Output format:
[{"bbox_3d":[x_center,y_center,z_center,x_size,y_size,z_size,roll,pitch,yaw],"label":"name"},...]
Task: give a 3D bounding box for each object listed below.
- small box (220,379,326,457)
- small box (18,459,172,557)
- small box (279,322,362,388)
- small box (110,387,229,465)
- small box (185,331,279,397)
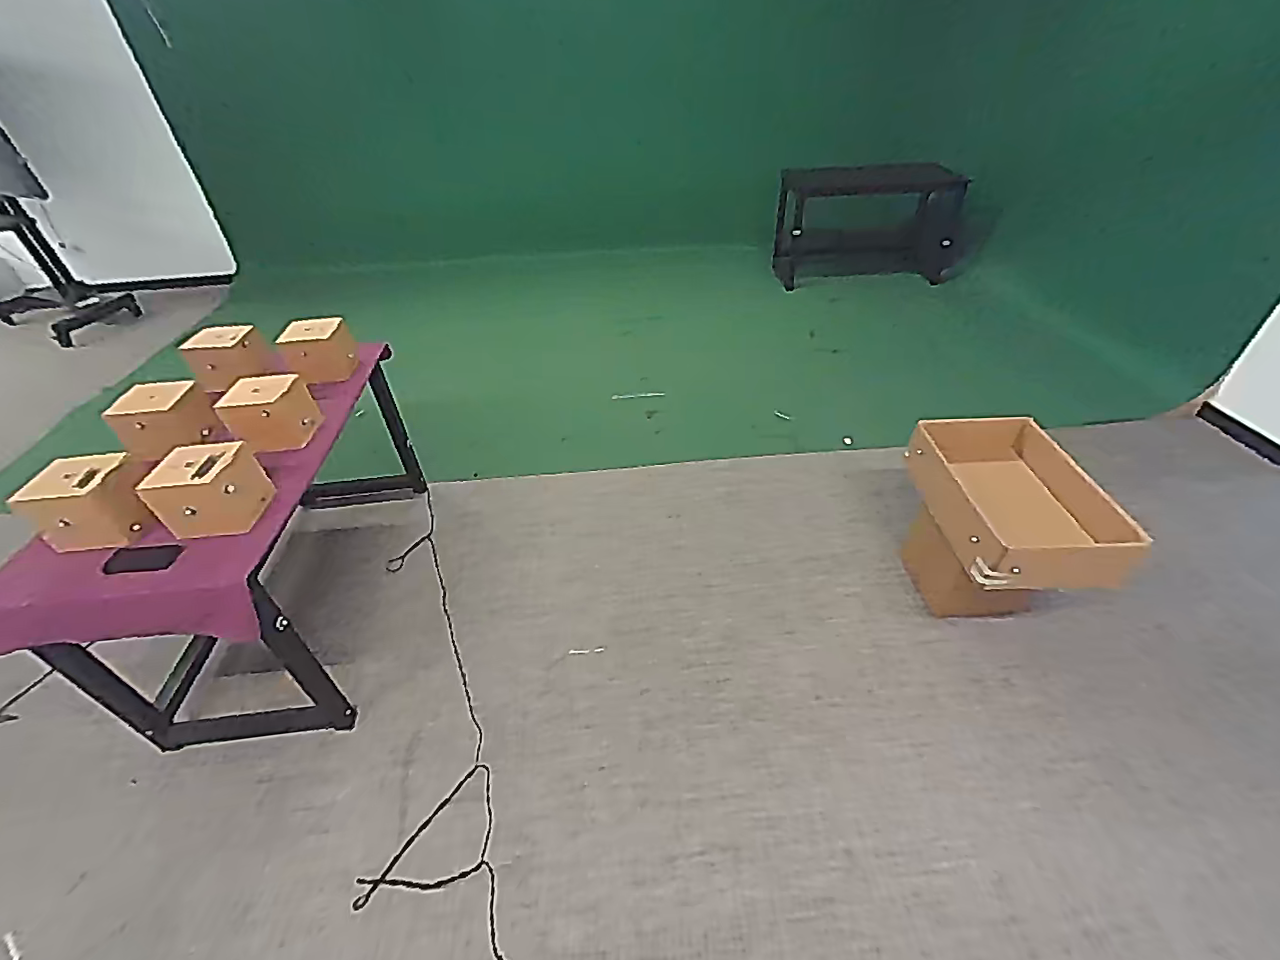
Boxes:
[{"bbox_3d":[-1.091,-0.184,1.623,0.179,0.176,0.168,-6,40,-1],"label":"small box"},{"bbox_3d":[-1.332,0.071,1.342,0.179,0.176,0.168,-7,40,-3],"label":"small box"},{"bbox_3d":[-1.127,-0.442,1.923,0.179,0.176,0.168,-6,42,-3],"label":"small box"},{"bbox_3d":[-1.397,-0.158,1.620,0.179,0.176,0.168,-6,41,-3],"label":"small box"},{"bbox_3d":[-1.435,-0.408,1.915,0.179,0.176,0.168,-5,41,-1],"label":"small box"}]
